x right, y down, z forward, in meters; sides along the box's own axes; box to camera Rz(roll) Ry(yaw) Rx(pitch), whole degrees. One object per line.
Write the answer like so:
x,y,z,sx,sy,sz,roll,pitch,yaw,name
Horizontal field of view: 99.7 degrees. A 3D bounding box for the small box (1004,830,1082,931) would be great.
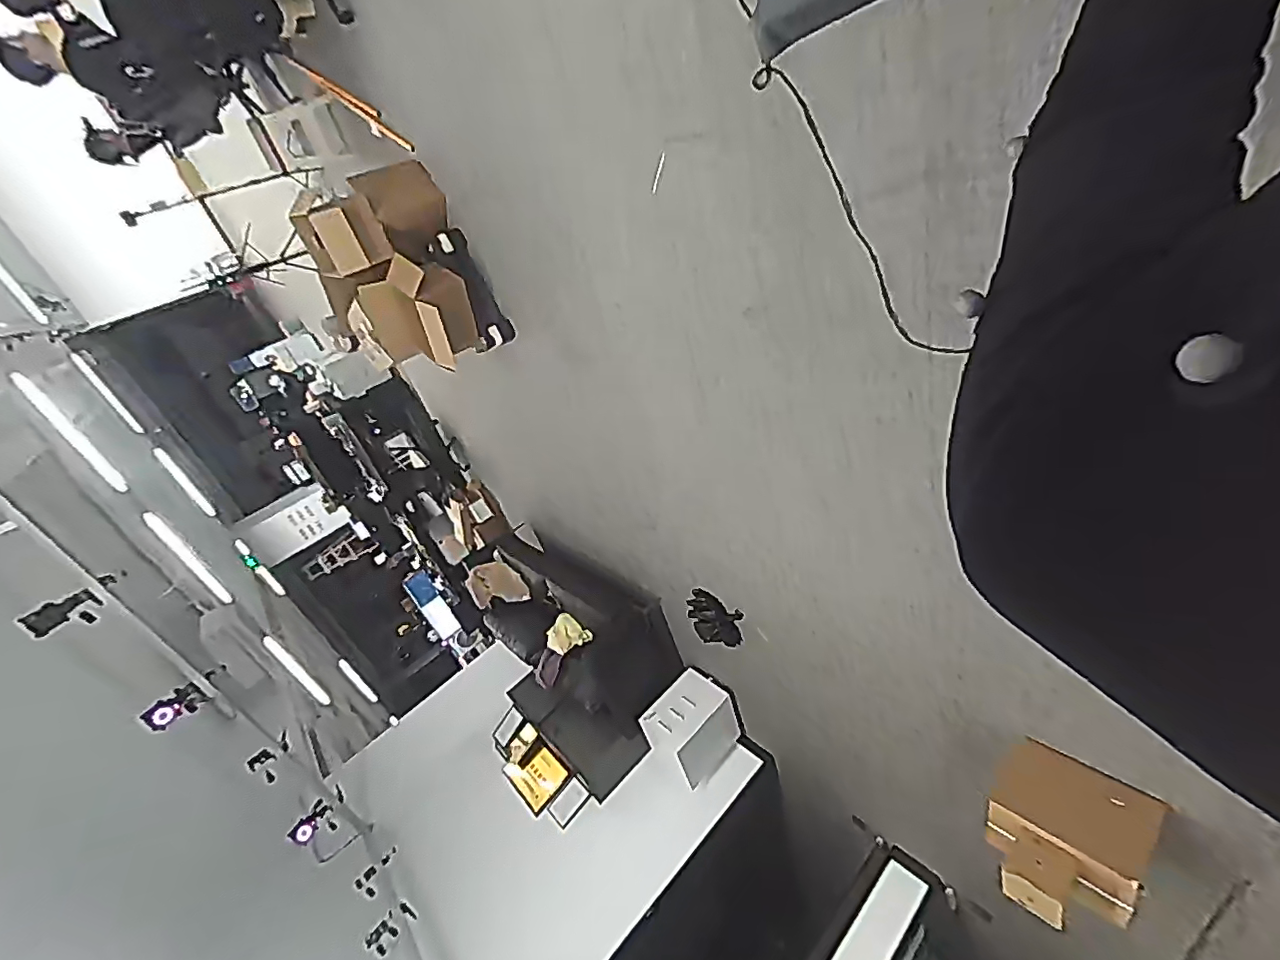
1.319,1.301,1.769,0.168,0.176,0.179,17,134,50,small box
